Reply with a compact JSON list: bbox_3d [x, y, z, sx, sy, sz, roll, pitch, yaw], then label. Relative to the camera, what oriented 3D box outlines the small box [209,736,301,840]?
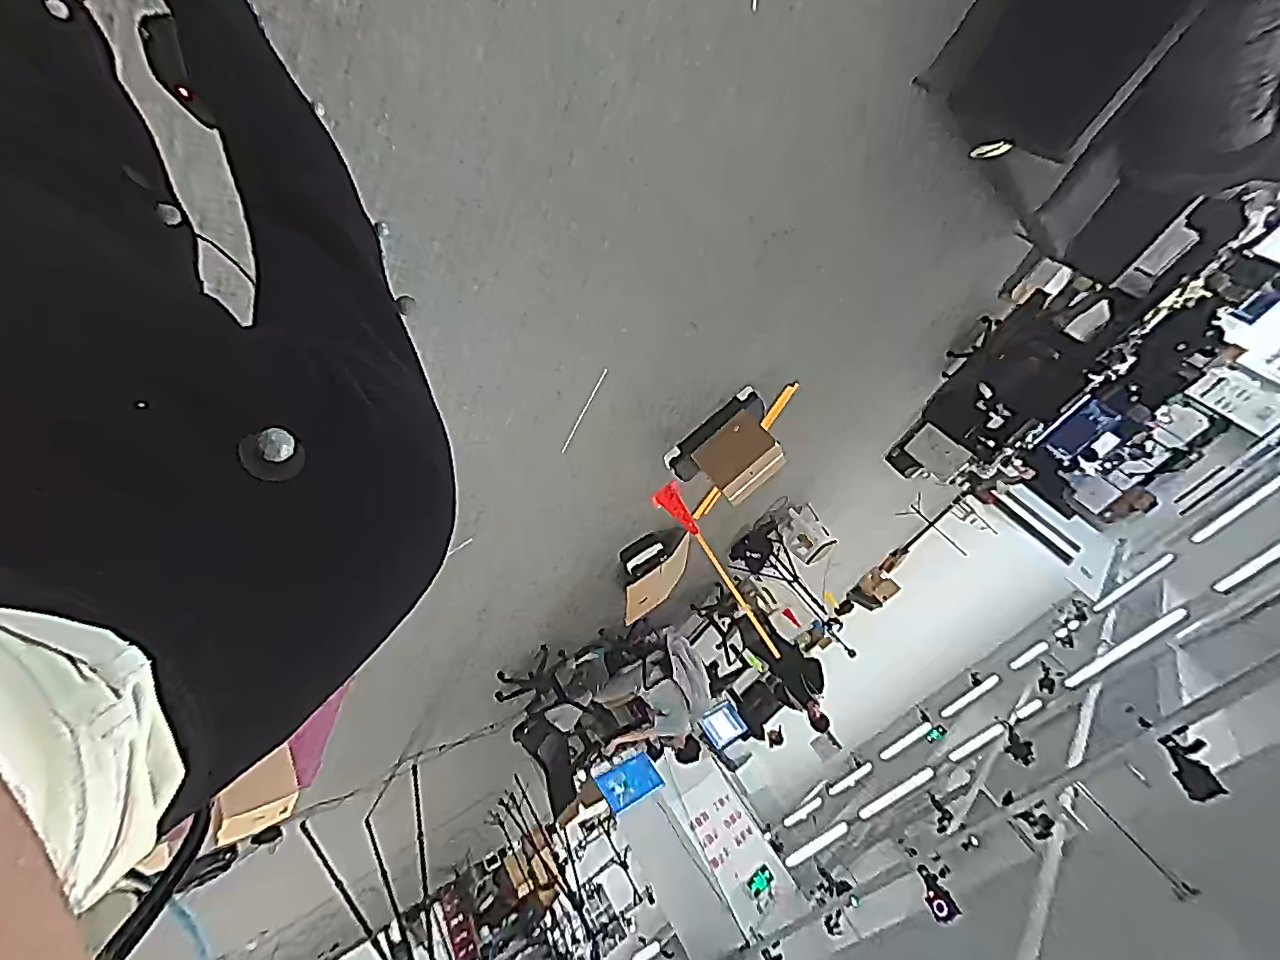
[{"bbox_3d":[-1.095,0.864,1.531,0.179,0.176,0.168,-2,135,-48],"label":"small box"}]

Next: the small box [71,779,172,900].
[{"bbox_3d":[-1.276,0.875,1.334,0.168,0.176,0.179,-7,139,-44],"label":"small box"}]
